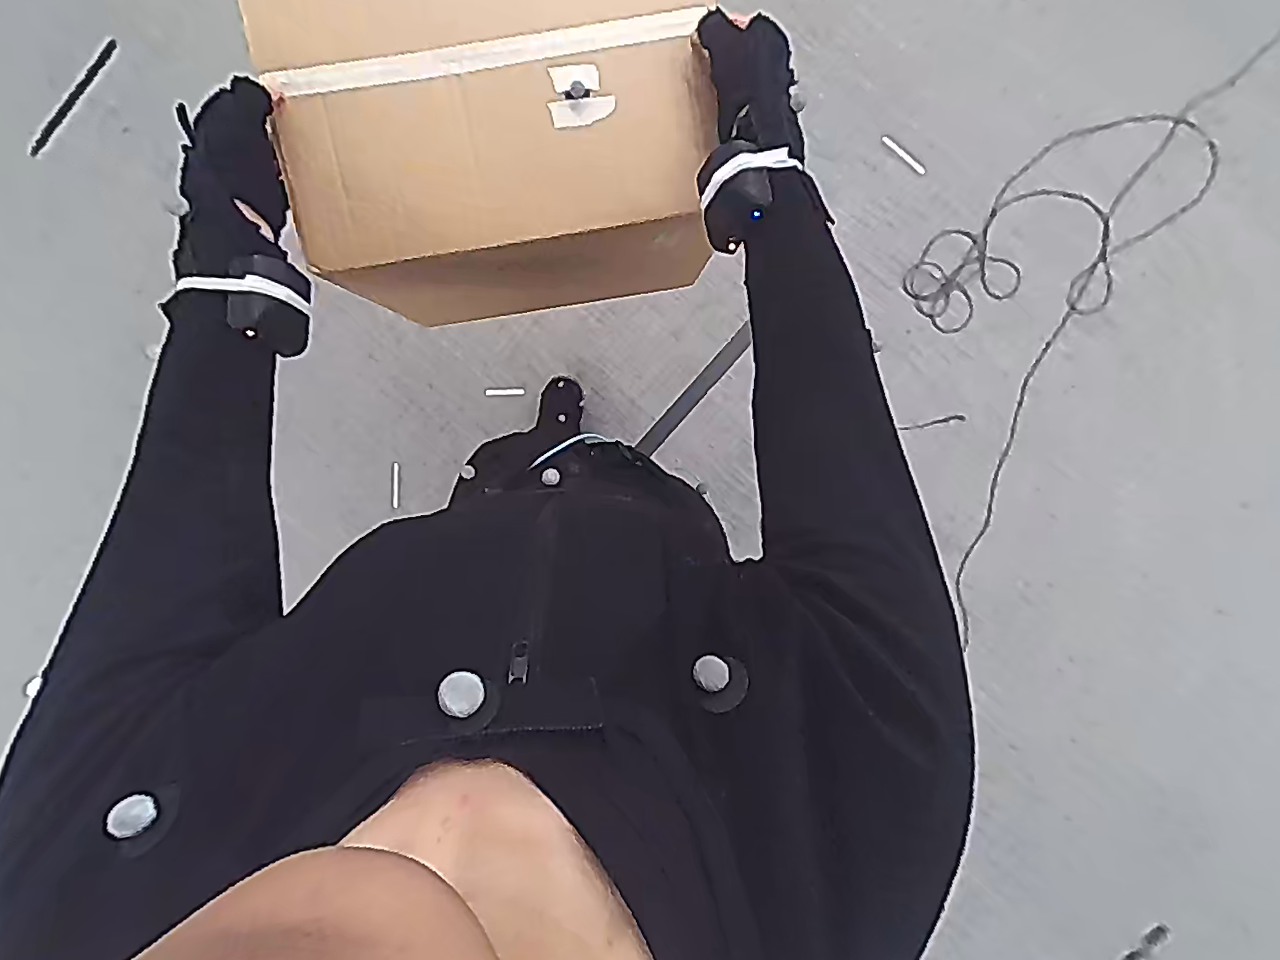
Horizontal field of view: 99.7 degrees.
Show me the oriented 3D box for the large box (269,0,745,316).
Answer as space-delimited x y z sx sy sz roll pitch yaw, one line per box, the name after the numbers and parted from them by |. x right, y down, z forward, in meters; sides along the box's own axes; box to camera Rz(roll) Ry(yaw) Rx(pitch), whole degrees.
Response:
-0.129 -0.403 0.633 0.408 0.320 0.320 -9 98 -3 | large box
